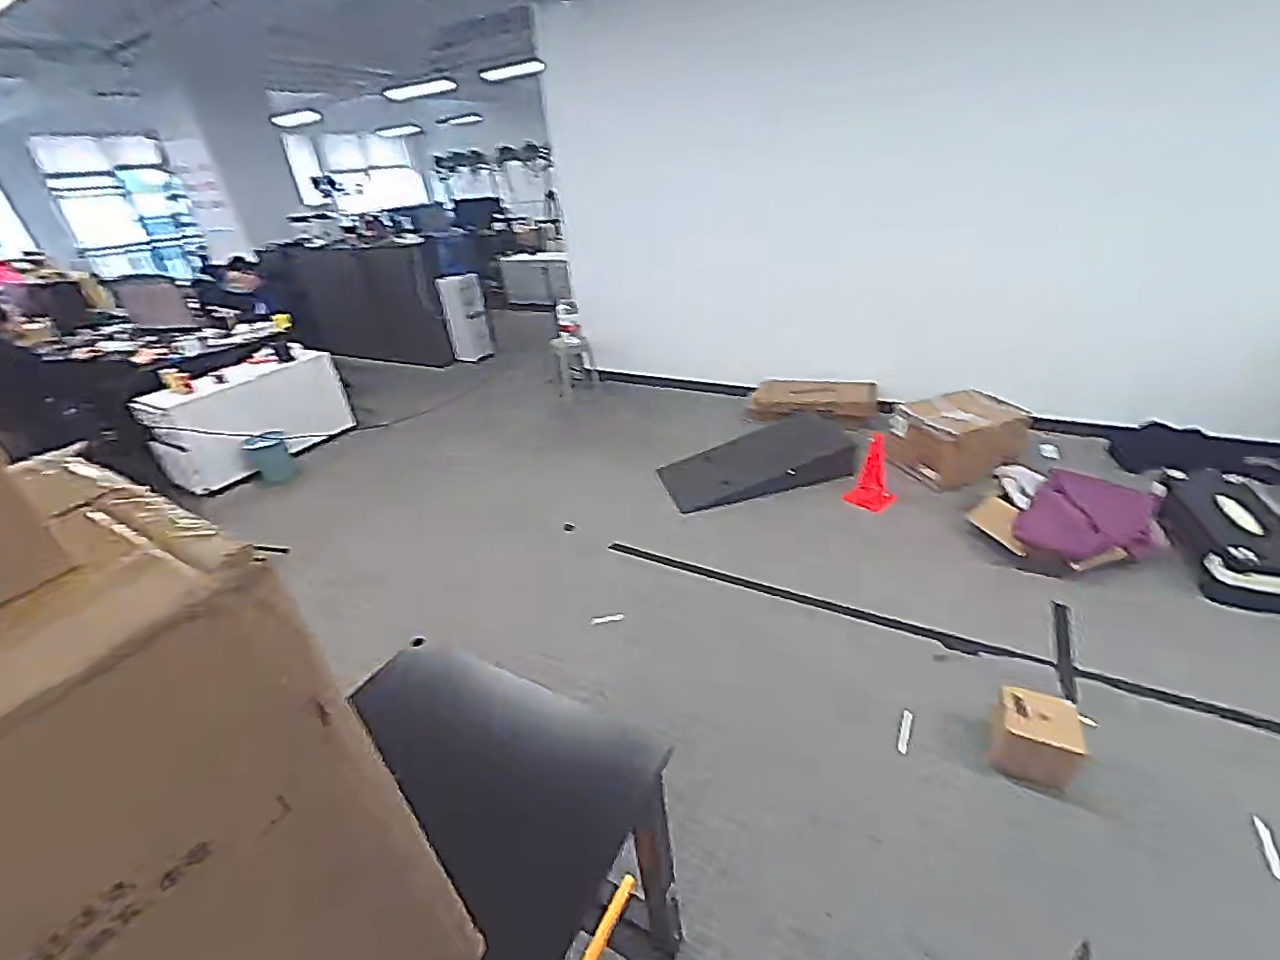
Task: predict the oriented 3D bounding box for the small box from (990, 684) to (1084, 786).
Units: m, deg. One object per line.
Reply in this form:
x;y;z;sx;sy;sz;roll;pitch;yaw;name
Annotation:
1.090;0.709;1.502;0.179;0.176;0.168;10;34;24;small box
